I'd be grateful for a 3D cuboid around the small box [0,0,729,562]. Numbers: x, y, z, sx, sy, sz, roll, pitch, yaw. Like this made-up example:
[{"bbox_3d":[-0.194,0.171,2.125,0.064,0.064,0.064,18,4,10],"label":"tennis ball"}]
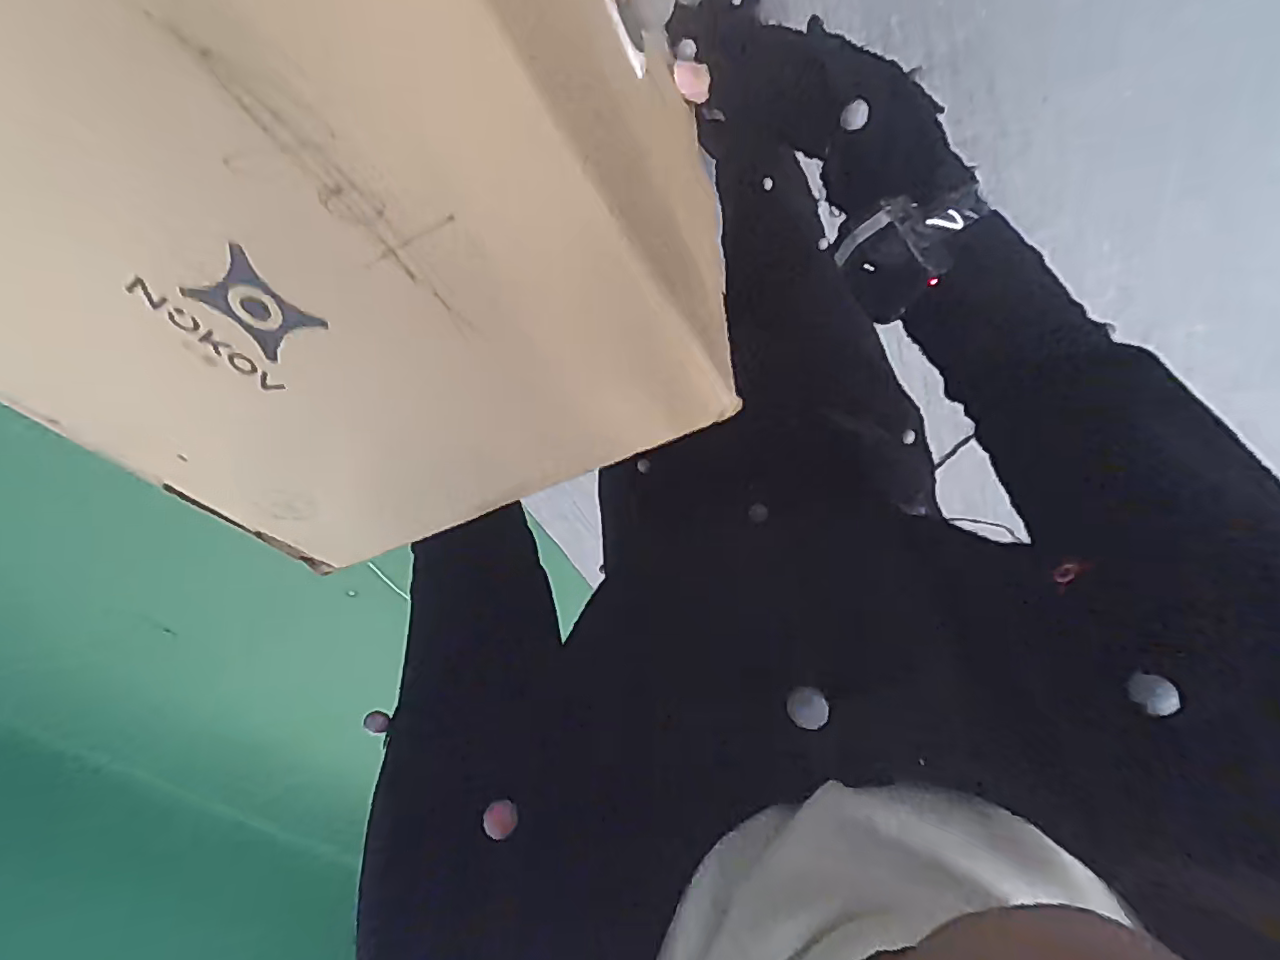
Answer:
[{"bbox_3d":[-0.086,-0.103,0.187,0.179,0.176,0.168,-22,133,24],"label":"small box"}]
